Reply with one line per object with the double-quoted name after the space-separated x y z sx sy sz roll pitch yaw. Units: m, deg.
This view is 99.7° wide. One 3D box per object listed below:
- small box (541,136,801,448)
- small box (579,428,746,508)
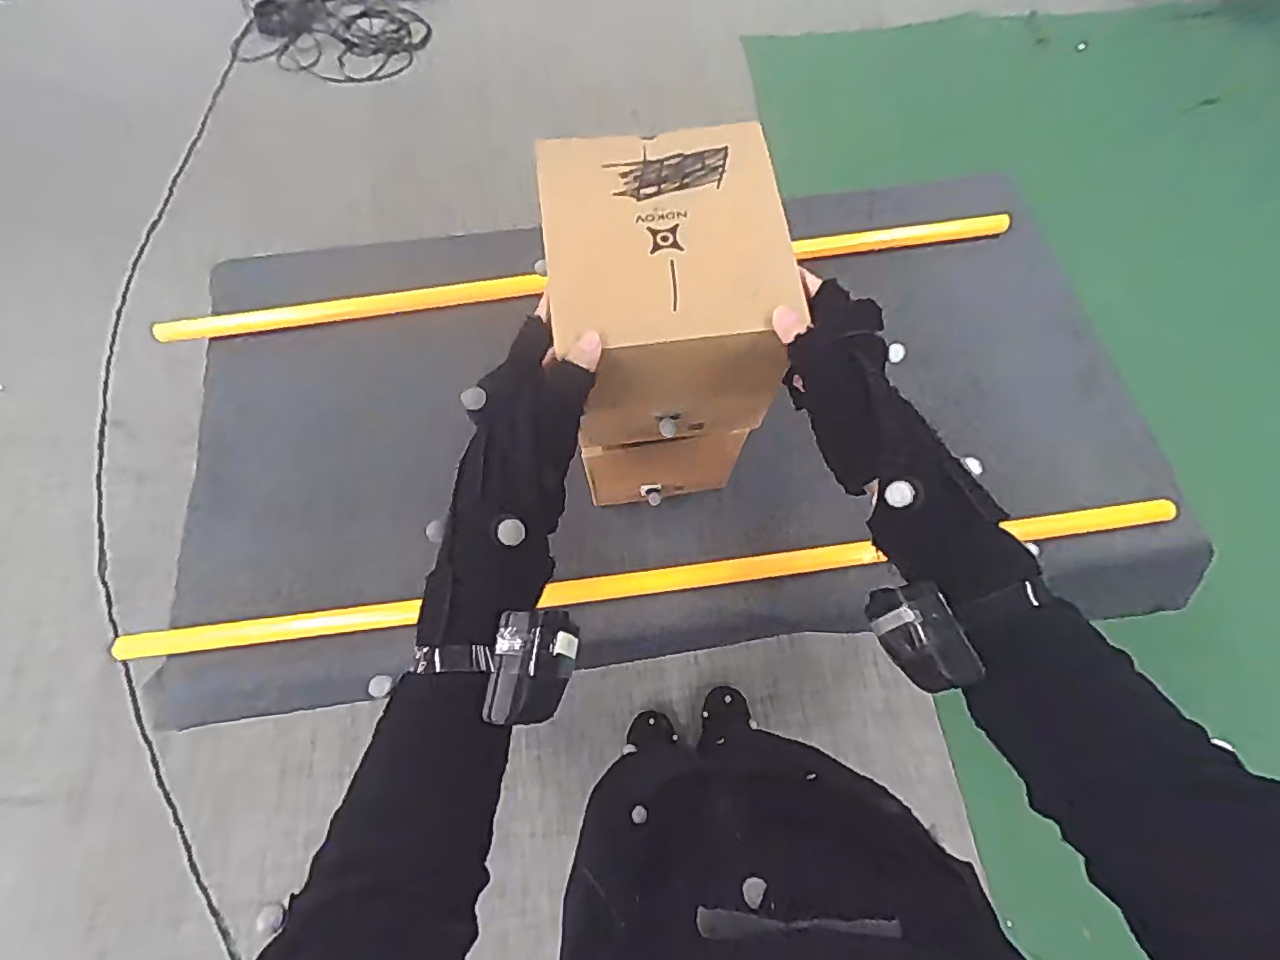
0.015 -0.143 0.452 0.168 0.176 0.179 -7 72 -2 "small box"
0.011 -0.083 0.631 0.168 0.176 0.179 -10 70 -3 "small box"
